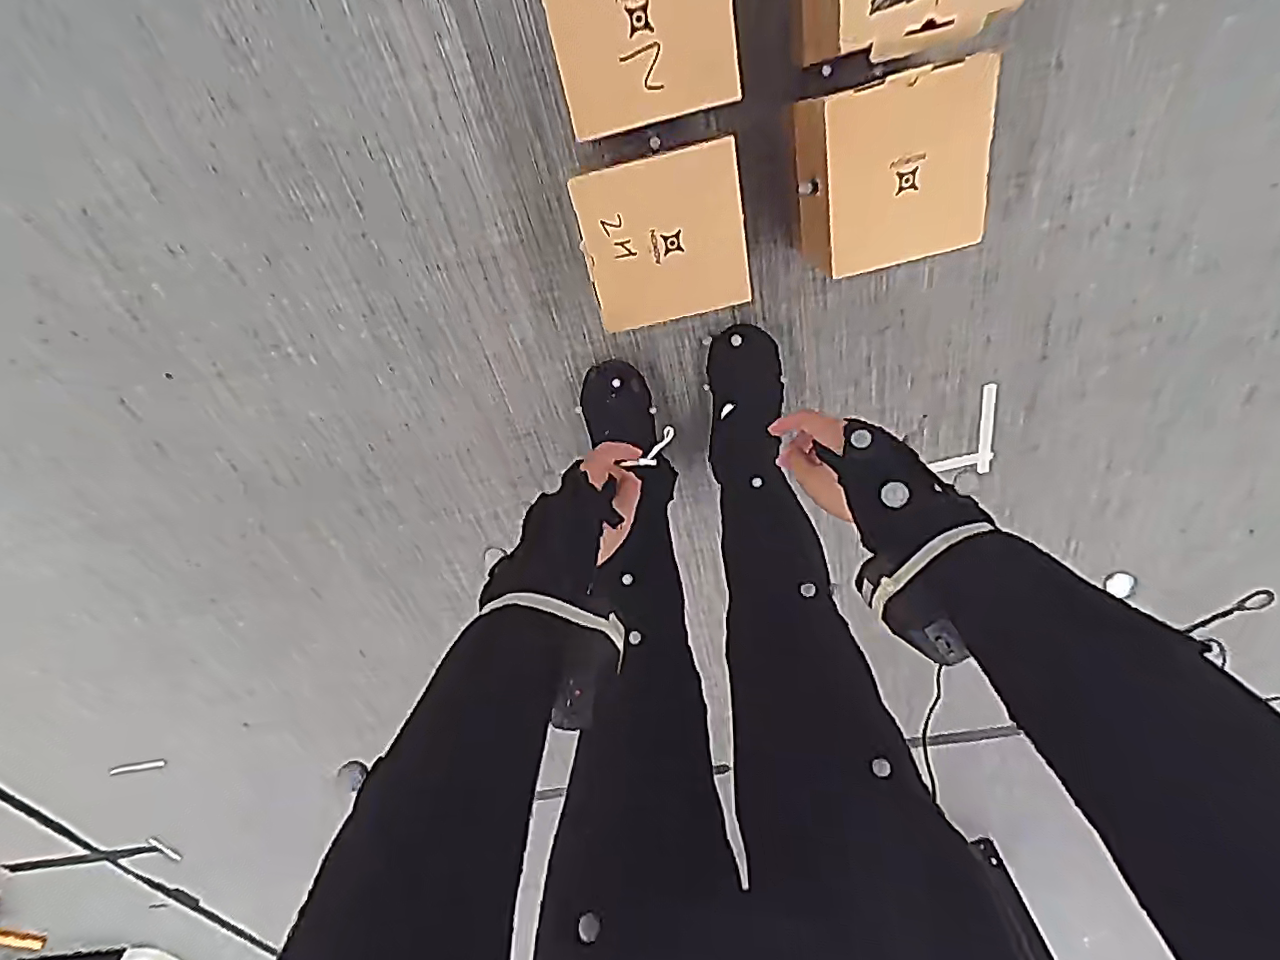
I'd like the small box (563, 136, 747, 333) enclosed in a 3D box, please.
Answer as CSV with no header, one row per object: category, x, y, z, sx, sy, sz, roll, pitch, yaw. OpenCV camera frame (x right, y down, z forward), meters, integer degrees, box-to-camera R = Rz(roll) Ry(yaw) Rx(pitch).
small box,0.018,-0.296,0.643,0.179,0.176,0.168,-11,123,5
